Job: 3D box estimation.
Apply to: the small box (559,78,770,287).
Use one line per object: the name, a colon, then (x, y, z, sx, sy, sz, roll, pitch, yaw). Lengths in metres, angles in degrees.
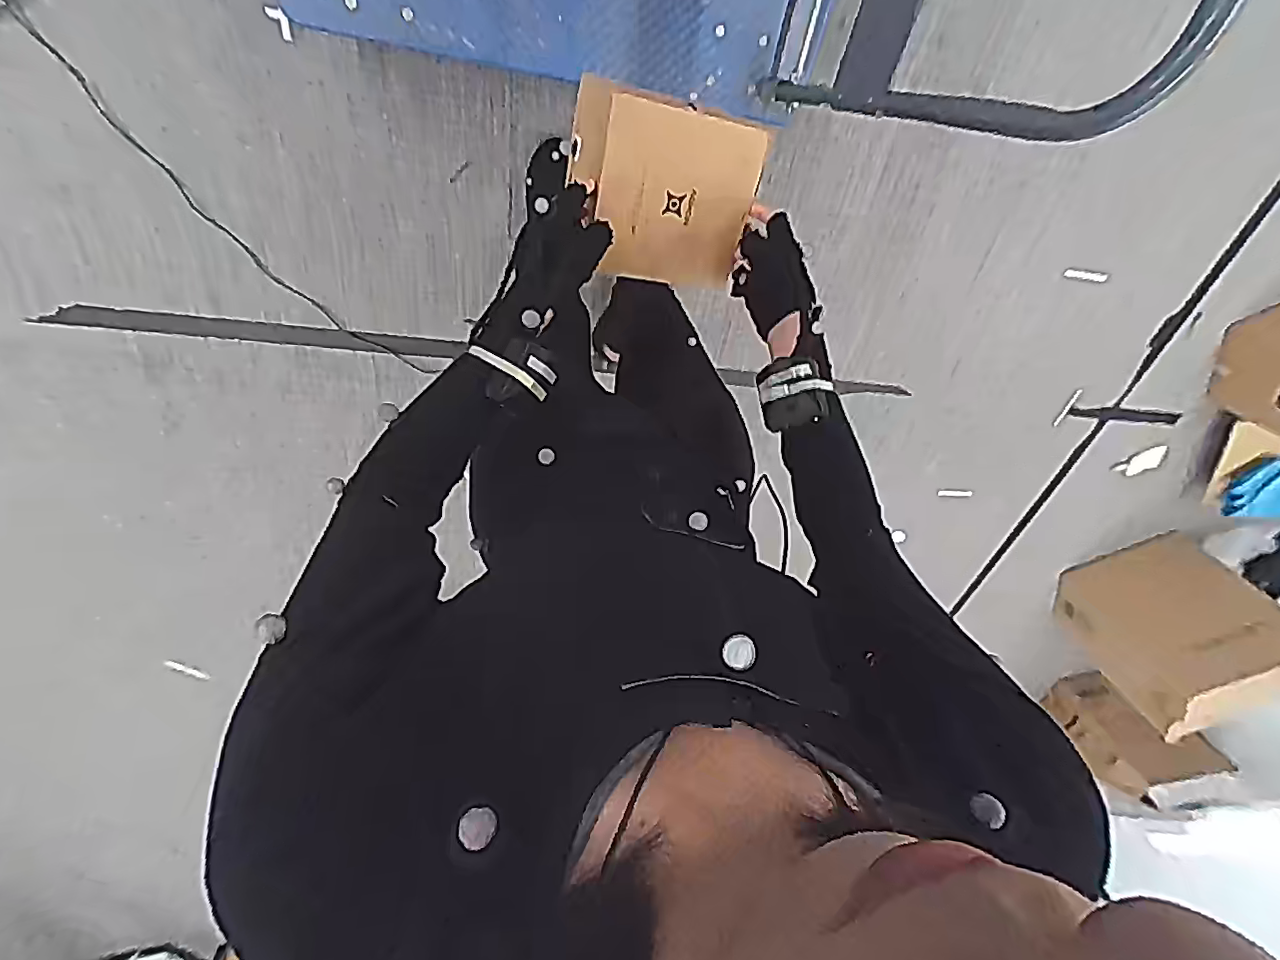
small box: (0.014, -0.344, 0.627, 0.179, 0.176, 0.168, 0, 129, -20)
